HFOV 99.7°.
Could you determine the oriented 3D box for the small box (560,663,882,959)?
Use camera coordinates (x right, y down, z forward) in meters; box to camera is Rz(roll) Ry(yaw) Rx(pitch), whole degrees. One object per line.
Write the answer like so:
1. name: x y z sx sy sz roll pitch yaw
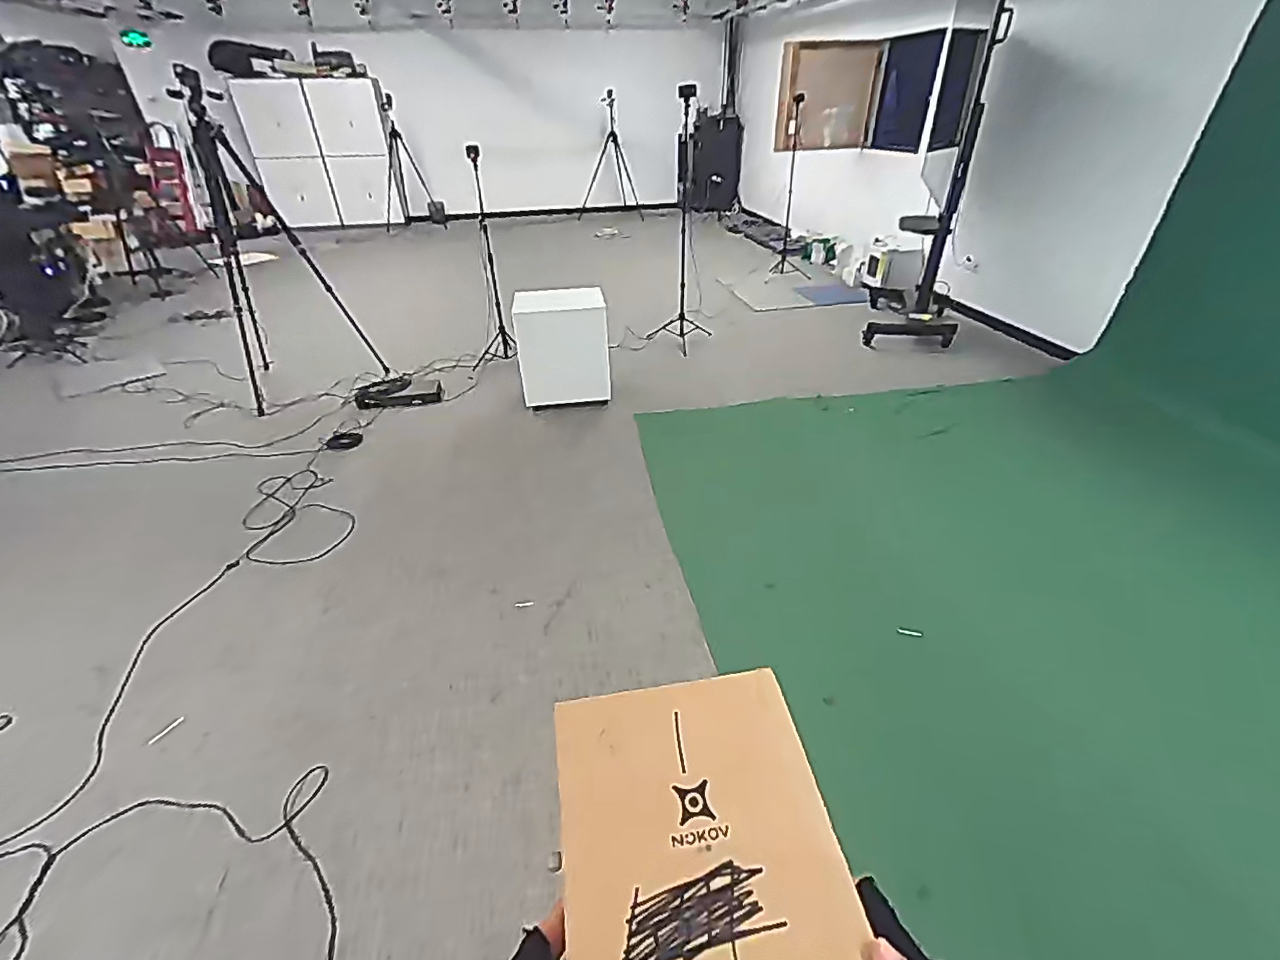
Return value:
1. small box: 0.035 0.261 0.386 0.168 0.176 0.179 -6 43 -8
